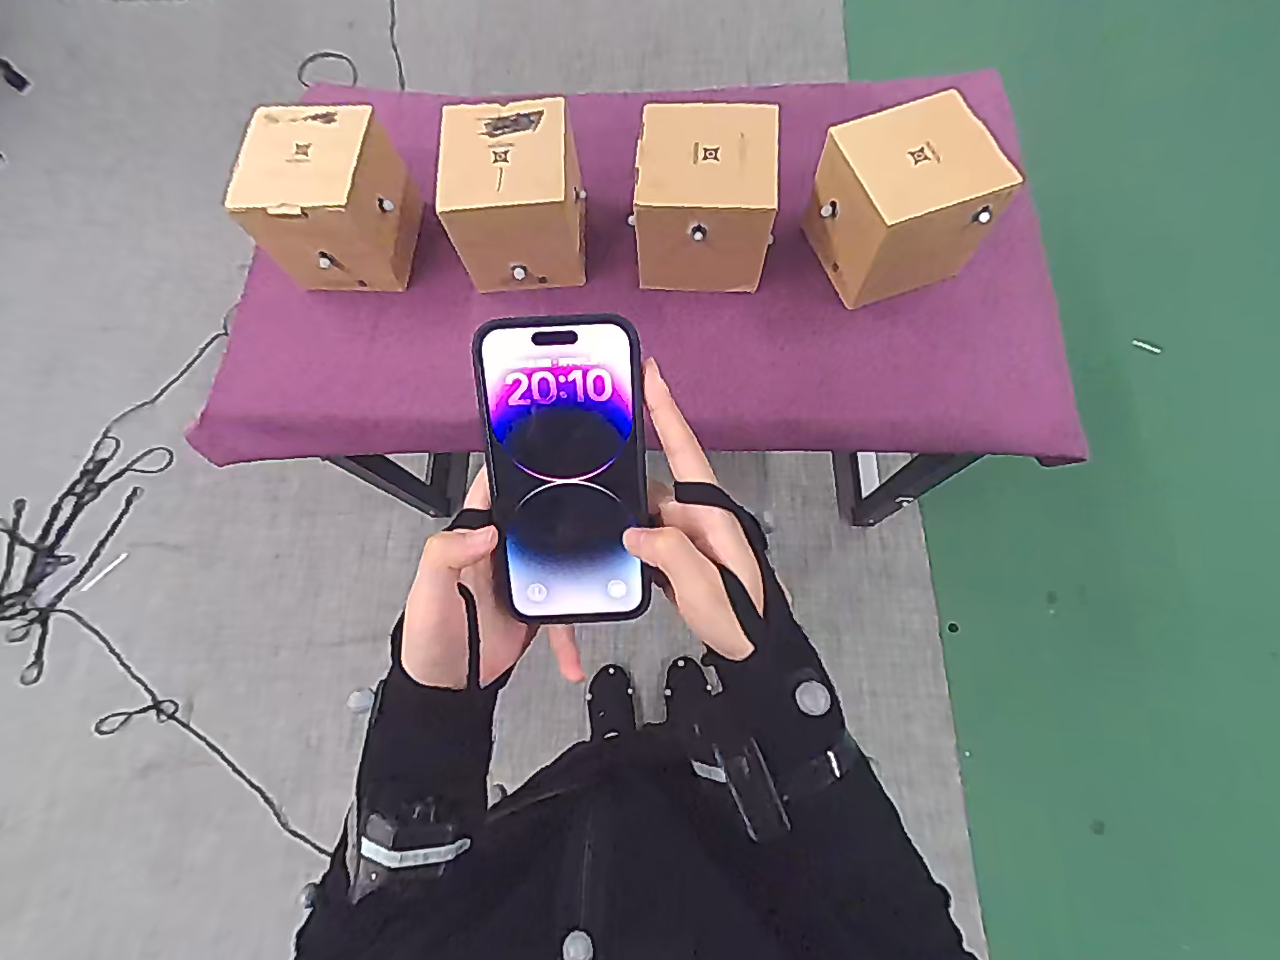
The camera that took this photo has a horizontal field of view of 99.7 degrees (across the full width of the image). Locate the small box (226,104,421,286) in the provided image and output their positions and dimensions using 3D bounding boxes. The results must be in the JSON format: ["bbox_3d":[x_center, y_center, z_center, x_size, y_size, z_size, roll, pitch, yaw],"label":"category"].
[{"bbox_3d":[-0.443,-0.404,0.788,0.168,0.176,0.179,2,73,4],"label":"small box"}]

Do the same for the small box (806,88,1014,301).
[{"bbox_3d":[0.342,-0.374,0.734,0.179,0.176,0.168,-19,72,-3],"label":"small box"}]

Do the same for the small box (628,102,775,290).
[{"bbox_3d":[0.084,-0.386,0.754,0.179,0.176,0.168,4,74,4],"label":"small box"}]

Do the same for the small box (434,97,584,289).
[{"bbox_3d":[-0.175,-0.400,0.772,0.168,0.176,0.179,-3,73,3],"label":"small box"}]
